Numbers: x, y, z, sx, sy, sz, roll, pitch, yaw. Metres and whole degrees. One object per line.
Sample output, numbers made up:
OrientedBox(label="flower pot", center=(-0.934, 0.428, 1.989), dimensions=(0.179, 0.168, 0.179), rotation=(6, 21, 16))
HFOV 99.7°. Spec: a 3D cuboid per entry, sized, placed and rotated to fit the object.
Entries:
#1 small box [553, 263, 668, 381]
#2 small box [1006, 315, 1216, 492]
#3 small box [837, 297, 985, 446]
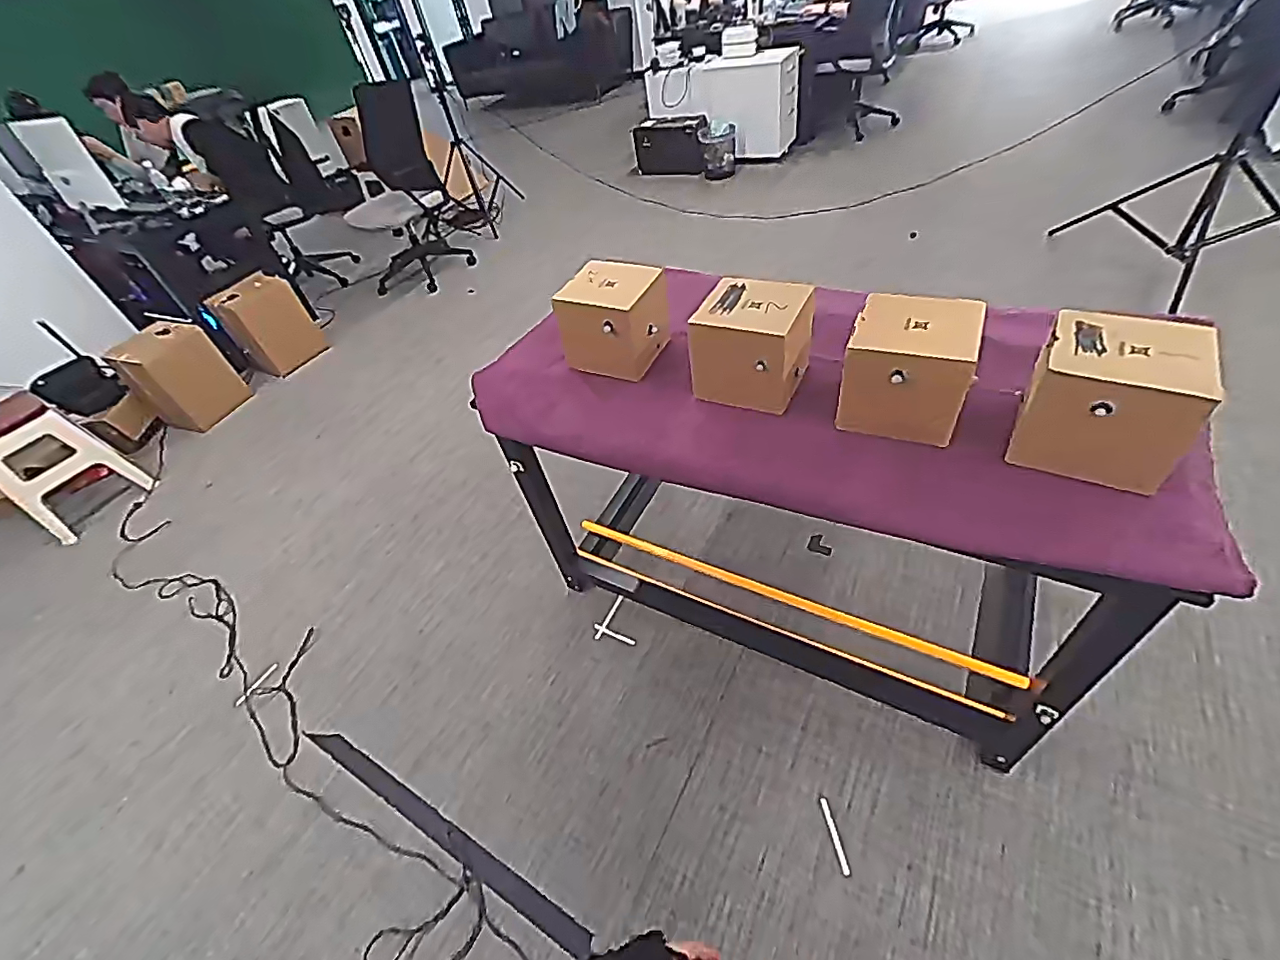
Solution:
OrientedBox(label="small box", center=(-0.052, -0.330, 1.136), dimensions=(0.179, 0.176, 0.168), rotation=(16, 51, 23))
OrientedBox(label="small box", center=(0.650, -0.108, 0.765), dimensions=(0.179, 0.176, 0.168), rotation=(20, 53, 28))
OrientedBox(label="small box", center=(0.436, -0.176, 0.886), dimensions=(0.179, 0.176, 0.168), rotation=(14, 51, 25))
